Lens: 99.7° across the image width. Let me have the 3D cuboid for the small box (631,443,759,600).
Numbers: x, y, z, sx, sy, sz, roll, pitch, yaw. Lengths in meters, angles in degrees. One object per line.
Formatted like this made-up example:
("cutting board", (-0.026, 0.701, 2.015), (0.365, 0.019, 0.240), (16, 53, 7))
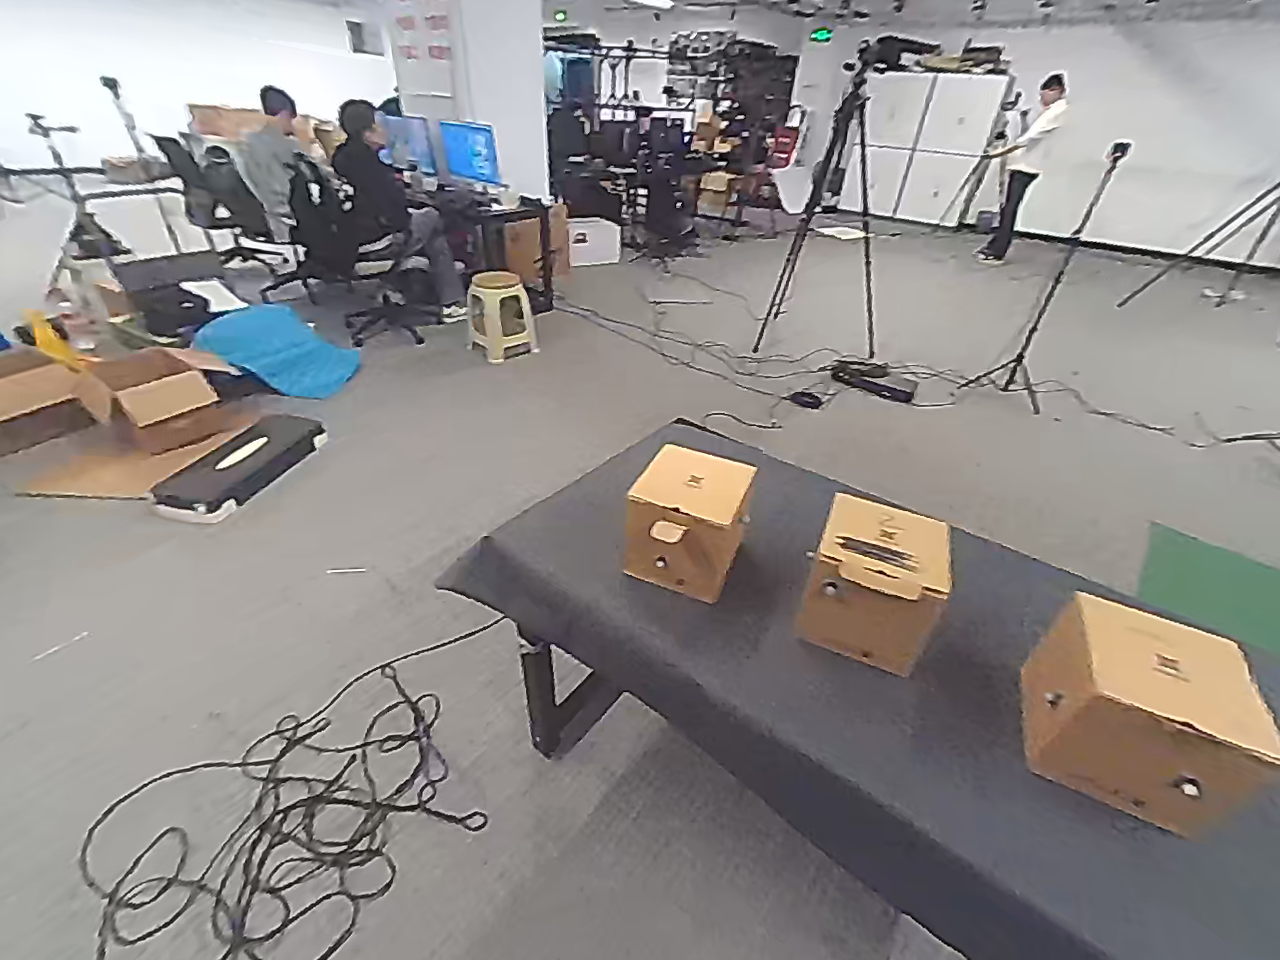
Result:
("small box", (0.089, 0.067, 0.915), (0.168, 0.176, 0.179), (16, 38, 17))

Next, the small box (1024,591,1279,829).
("small box", (0.601, 0.276, 0.660), (0.168, 0.176, 0.179), (20, 37, 20))
